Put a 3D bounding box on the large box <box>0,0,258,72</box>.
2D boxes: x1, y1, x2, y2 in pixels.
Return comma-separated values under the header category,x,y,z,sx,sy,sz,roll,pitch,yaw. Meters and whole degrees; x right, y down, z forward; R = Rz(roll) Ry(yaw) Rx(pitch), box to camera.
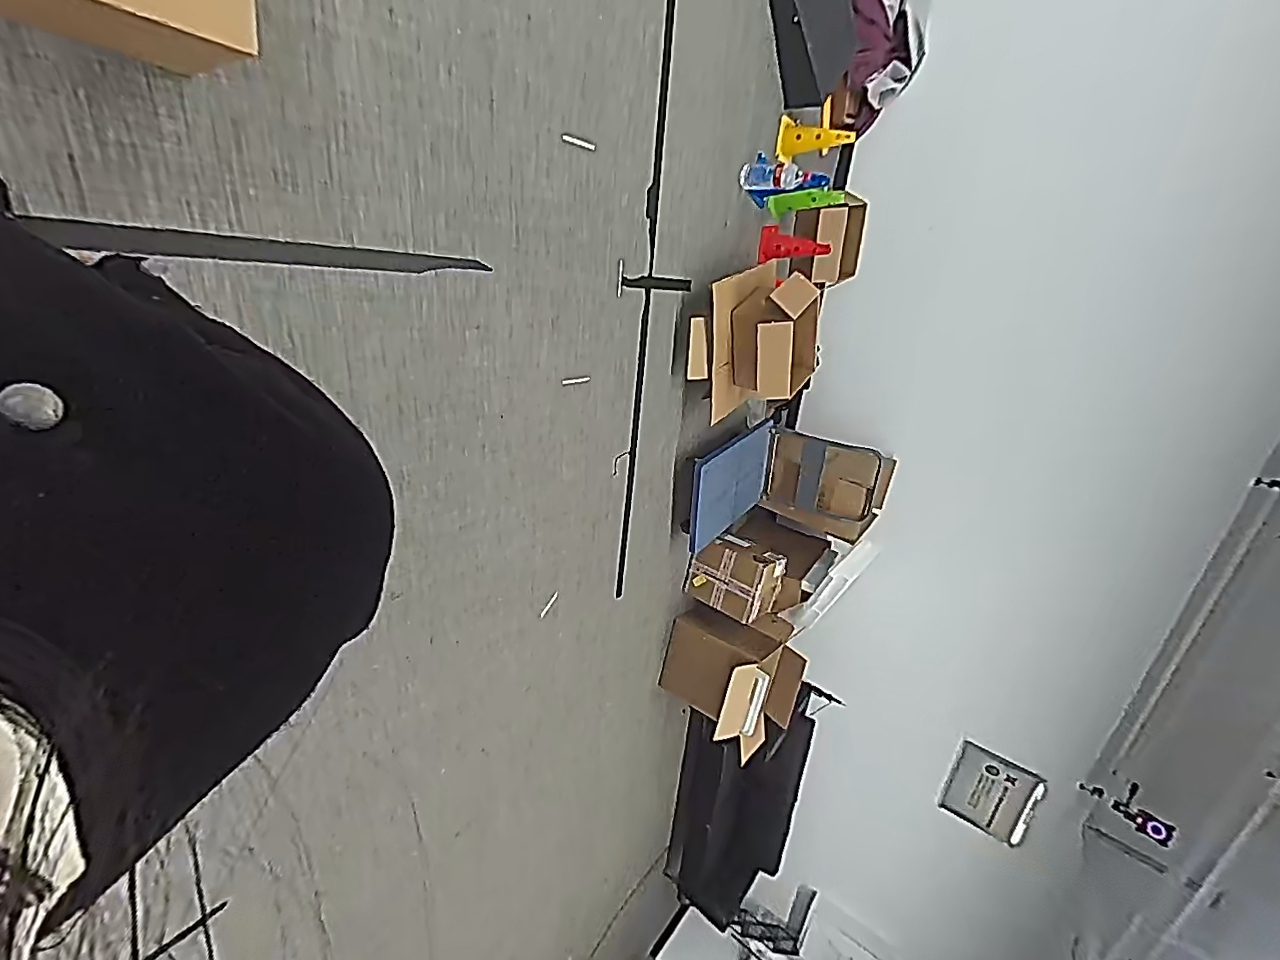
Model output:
category,x,y,z,sx,sy,sz,roll,pitch,yaw
large box,-0.837,-0.831,0.748,0.408,0.320,0.320,-19,123,-52
